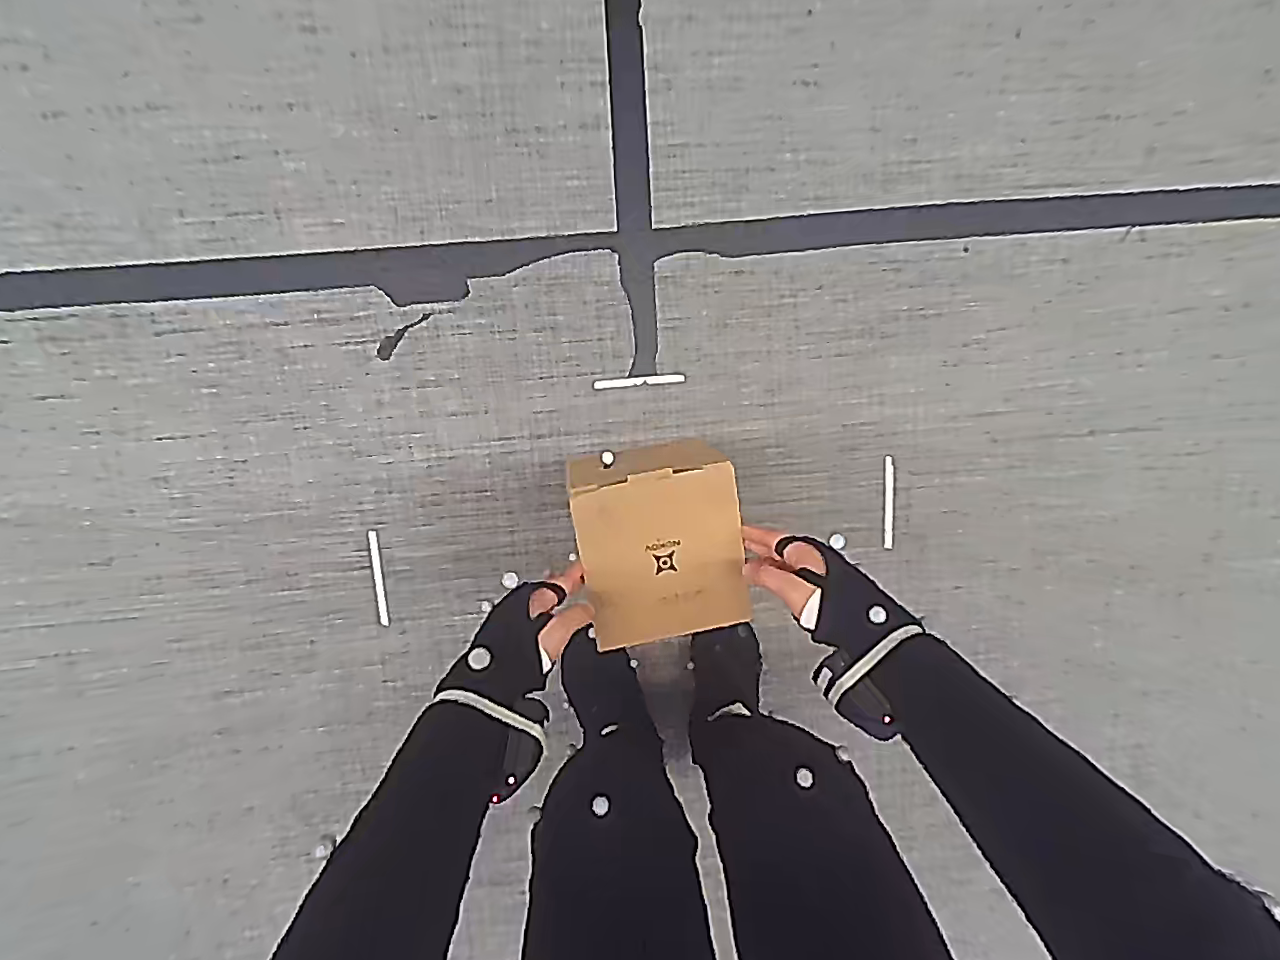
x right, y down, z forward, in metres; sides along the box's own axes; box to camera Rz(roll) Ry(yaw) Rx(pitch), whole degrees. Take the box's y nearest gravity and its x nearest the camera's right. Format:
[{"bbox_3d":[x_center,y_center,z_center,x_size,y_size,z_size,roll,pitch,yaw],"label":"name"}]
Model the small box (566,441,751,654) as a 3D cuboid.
[{"bbox_3d":[0.012,0.059,0.602,0.168,0.176,0.179,-10,105,-4],"label":"small box"}]
